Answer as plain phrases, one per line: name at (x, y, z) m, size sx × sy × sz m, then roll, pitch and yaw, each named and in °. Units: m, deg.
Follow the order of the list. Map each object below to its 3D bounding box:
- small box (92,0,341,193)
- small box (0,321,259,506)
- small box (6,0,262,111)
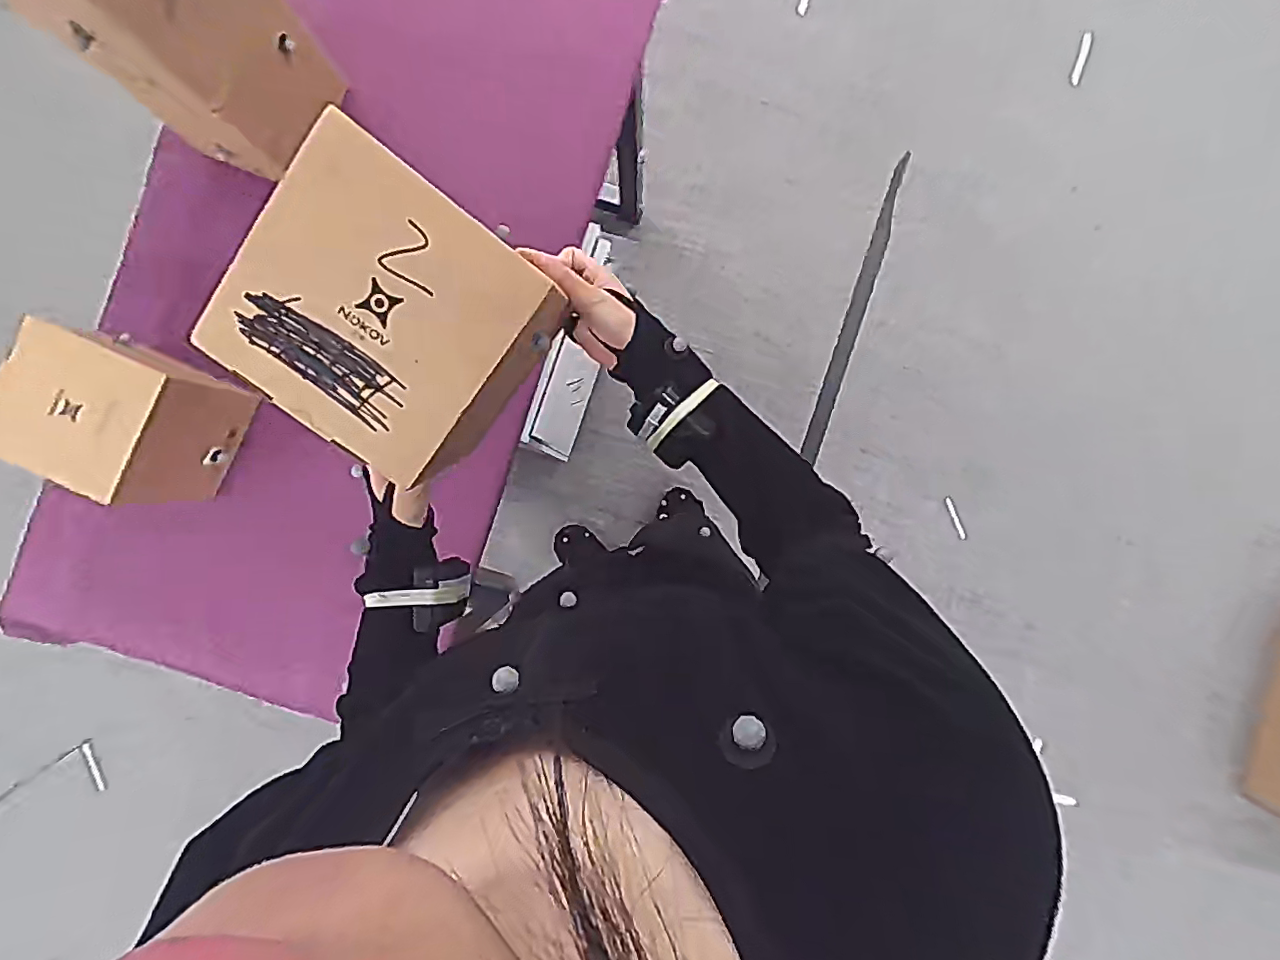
small box at (-0.530, -0.524, 0.708) m, size 0.168 × 0.176 × 0.179 m, roll 21°, pitch 89°, yaw 0°
small box at (-0.653, -0.075, 0.697) m, size 0.179 × 0.176 × 0.168 m, roll 23°, pitch 90°, yaw -2°
small box at (-0.531, -0.526, 0.544) m, size 0.168 × 0.176 × 0.179 m, roll 22°, pitch 89°, yaw -1°
